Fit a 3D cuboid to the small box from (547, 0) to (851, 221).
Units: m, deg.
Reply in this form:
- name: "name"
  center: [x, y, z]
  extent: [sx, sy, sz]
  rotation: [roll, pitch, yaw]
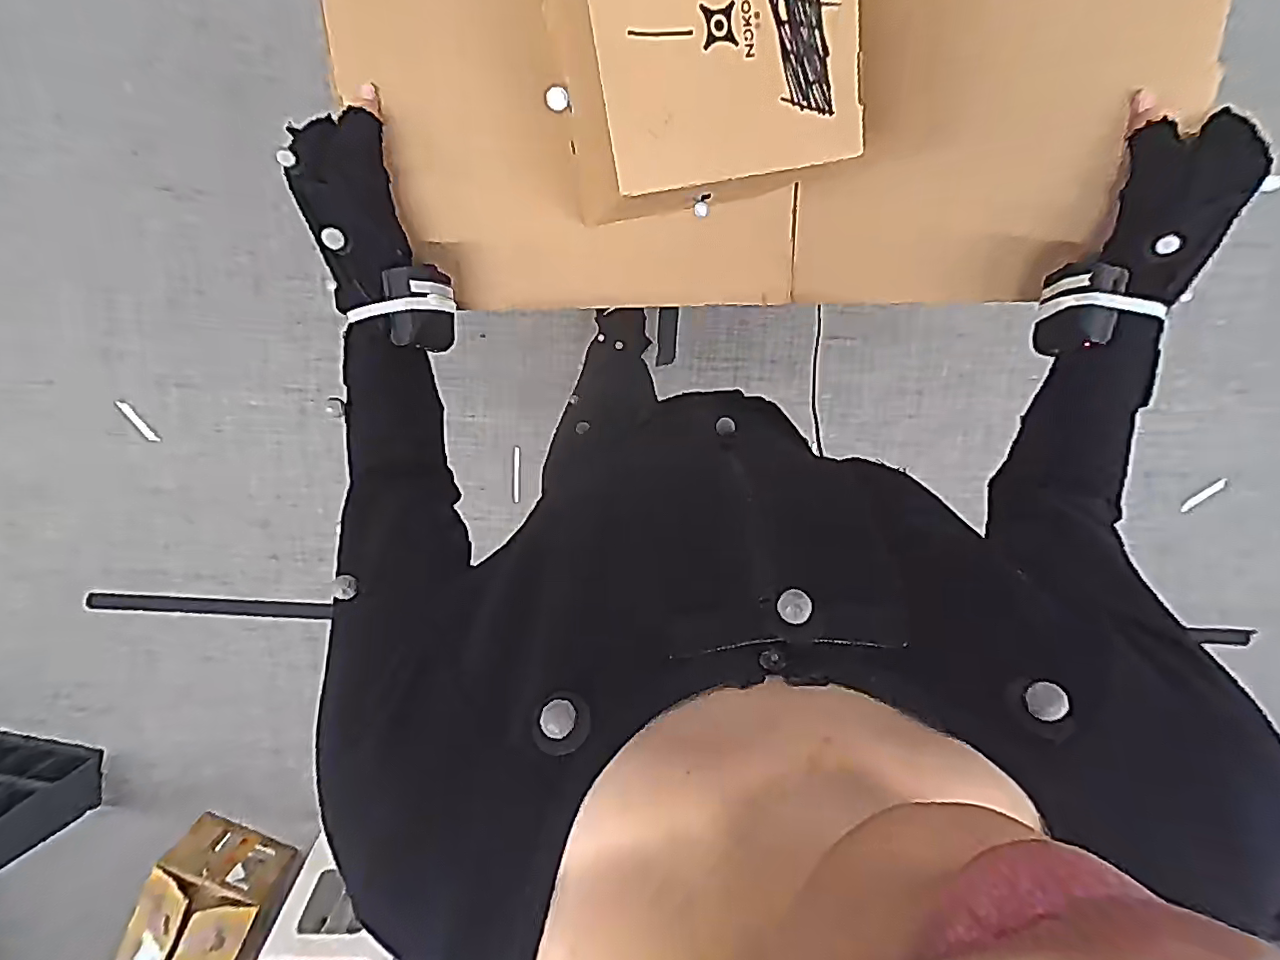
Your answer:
- name: "small box"
  center: [0.036, -0.308, 0.414]
  extent: [0.179, 0.176, 0.168]
  rotation: [-14, 111, -9]
